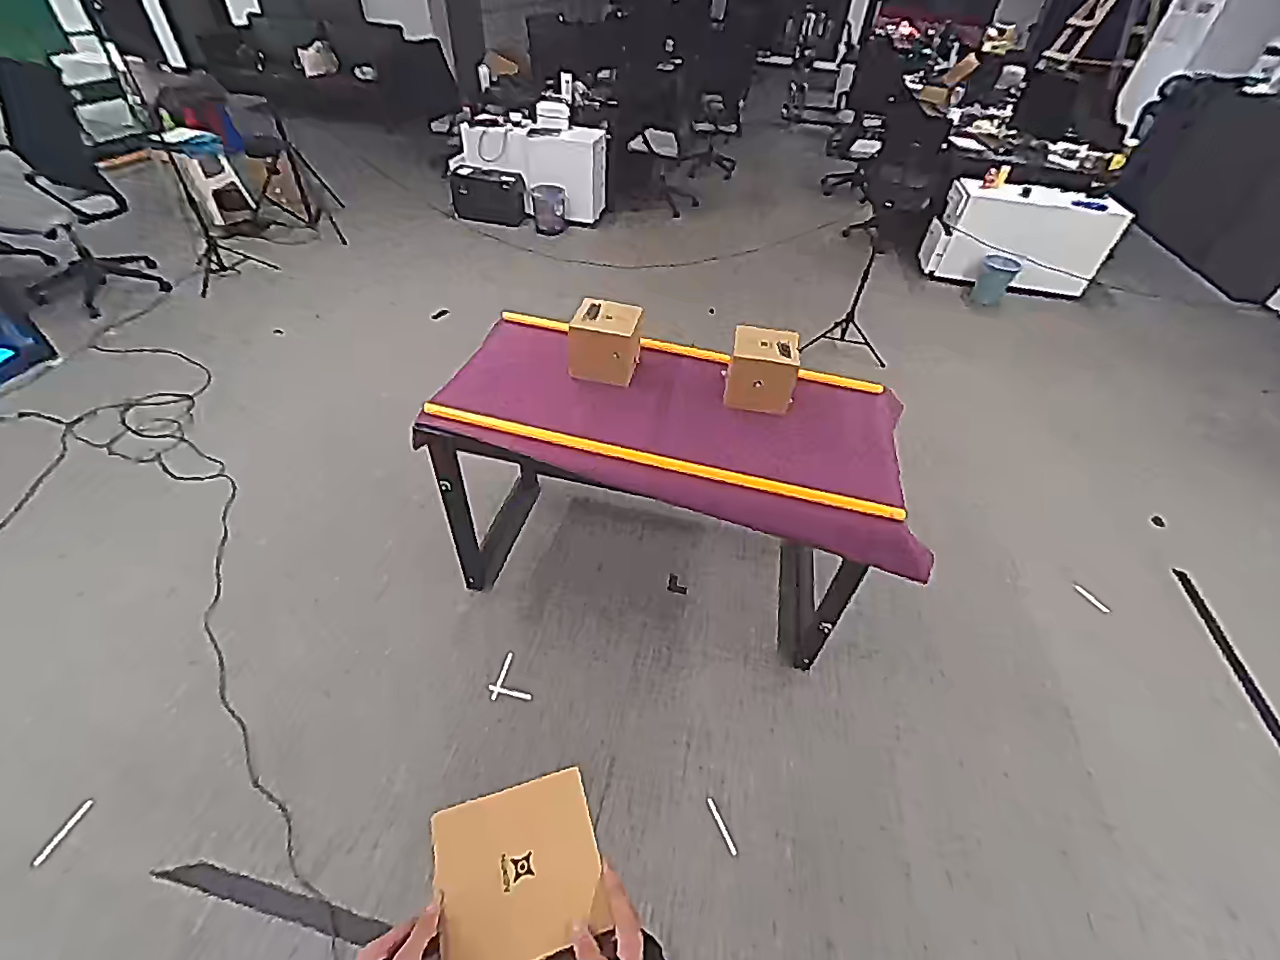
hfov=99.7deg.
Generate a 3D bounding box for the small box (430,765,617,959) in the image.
[{"bbox_3d":[-0.133,0.471,0.630,0.179,0.176,0.168,-13,44,-15],"label":"small box"}]

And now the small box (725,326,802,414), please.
[{"bbox_3d":[0.339,-0.300,1.497,0.179,0.176,0.168,9,46,6],"label":"small box"}]
